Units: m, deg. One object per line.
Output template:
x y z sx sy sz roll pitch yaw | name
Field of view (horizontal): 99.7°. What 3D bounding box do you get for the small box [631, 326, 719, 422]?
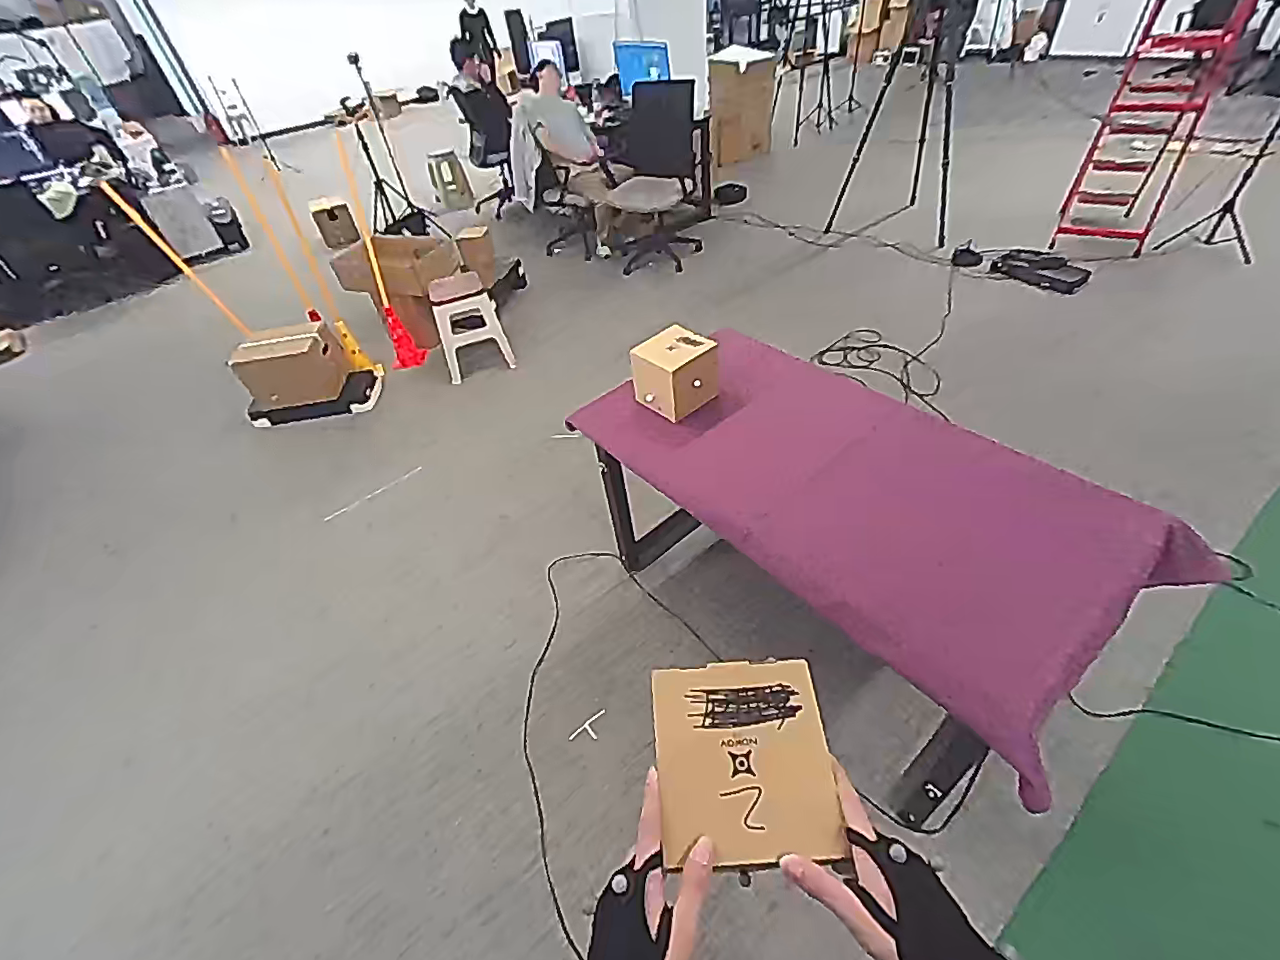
0.098 -0.292 1.489 0.179 0.176 0.168 -35 50 -25 | small box
